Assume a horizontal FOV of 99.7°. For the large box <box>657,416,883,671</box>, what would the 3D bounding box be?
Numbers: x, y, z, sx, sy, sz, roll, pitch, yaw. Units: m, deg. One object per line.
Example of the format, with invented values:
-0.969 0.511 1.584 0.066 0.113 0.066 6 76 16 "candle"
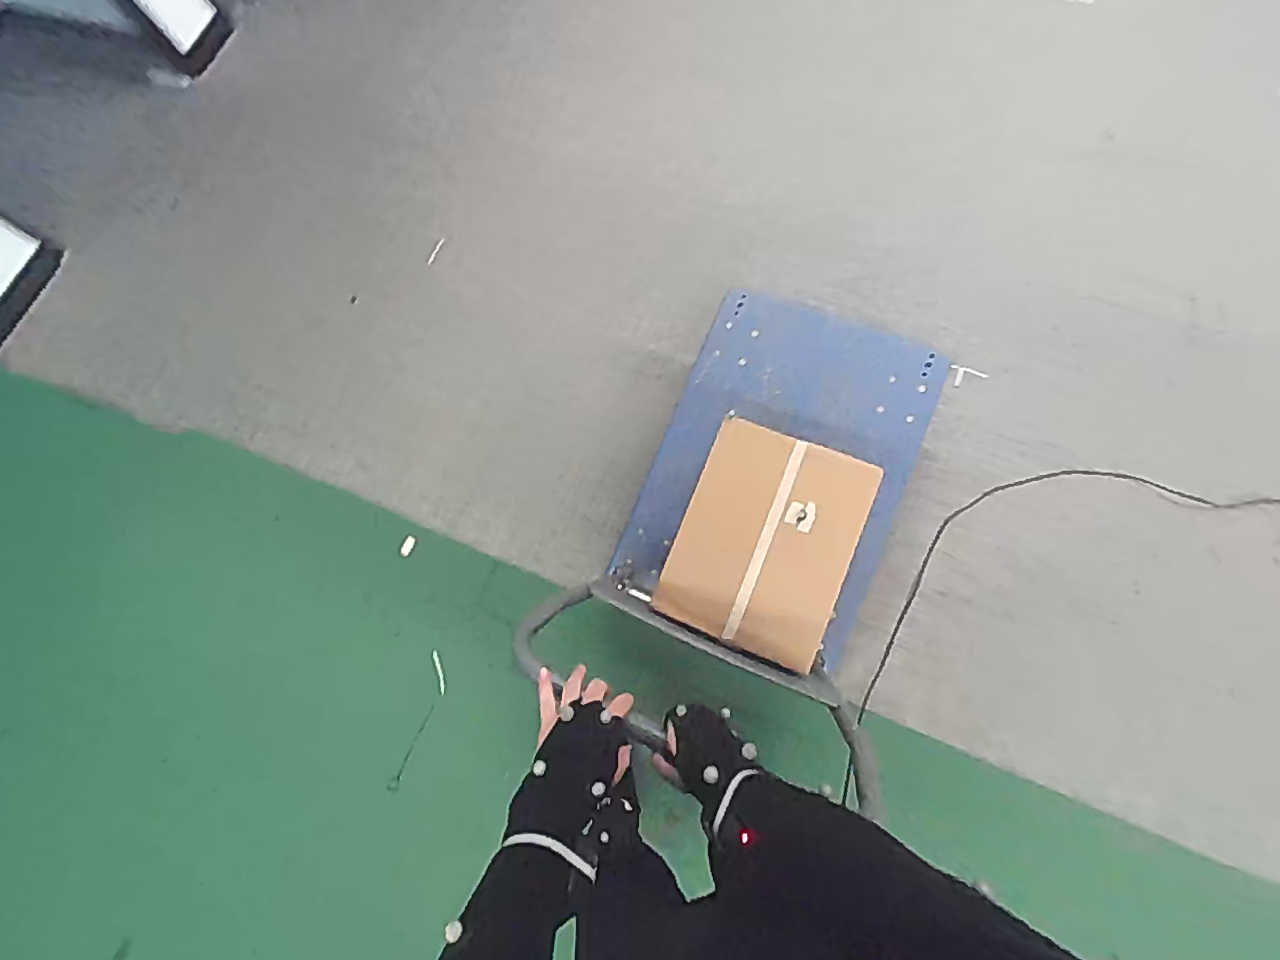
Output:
0.264 0.135 1.150 0.320 0.320 0.408 21 84 12 "large box"
